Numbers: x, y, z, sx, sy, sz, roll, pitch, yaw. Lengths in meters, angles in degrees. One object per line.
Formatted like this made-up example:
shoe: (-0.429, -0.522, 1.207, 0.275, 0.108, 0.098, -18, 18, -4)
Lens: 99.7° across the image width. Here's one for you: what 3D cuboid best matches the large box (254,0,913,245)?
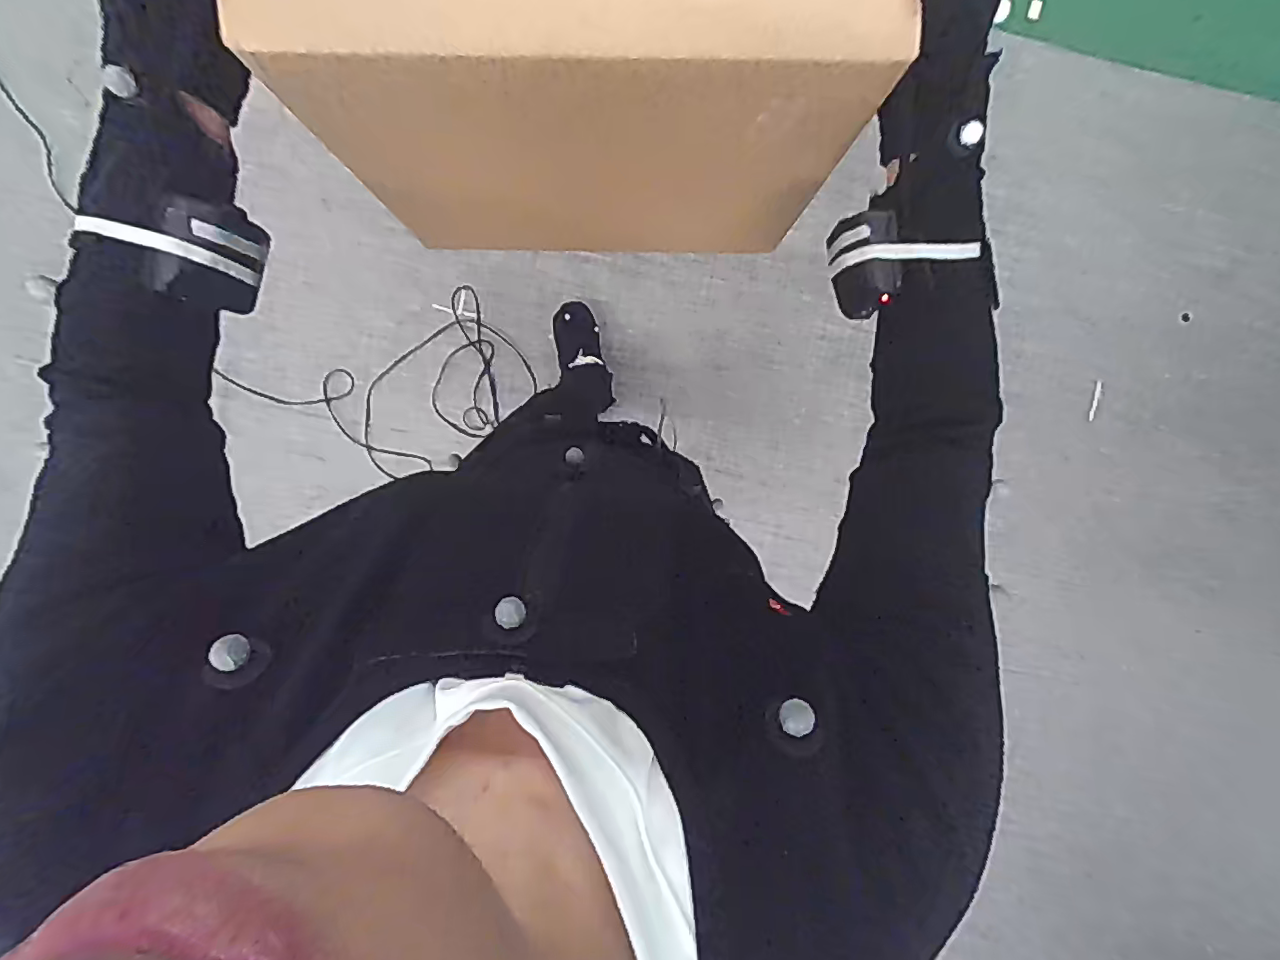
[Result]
large box: (-0.040, -0.419, 0.469, 0.408, 0.320, 0.320, -1, 93, -3)
